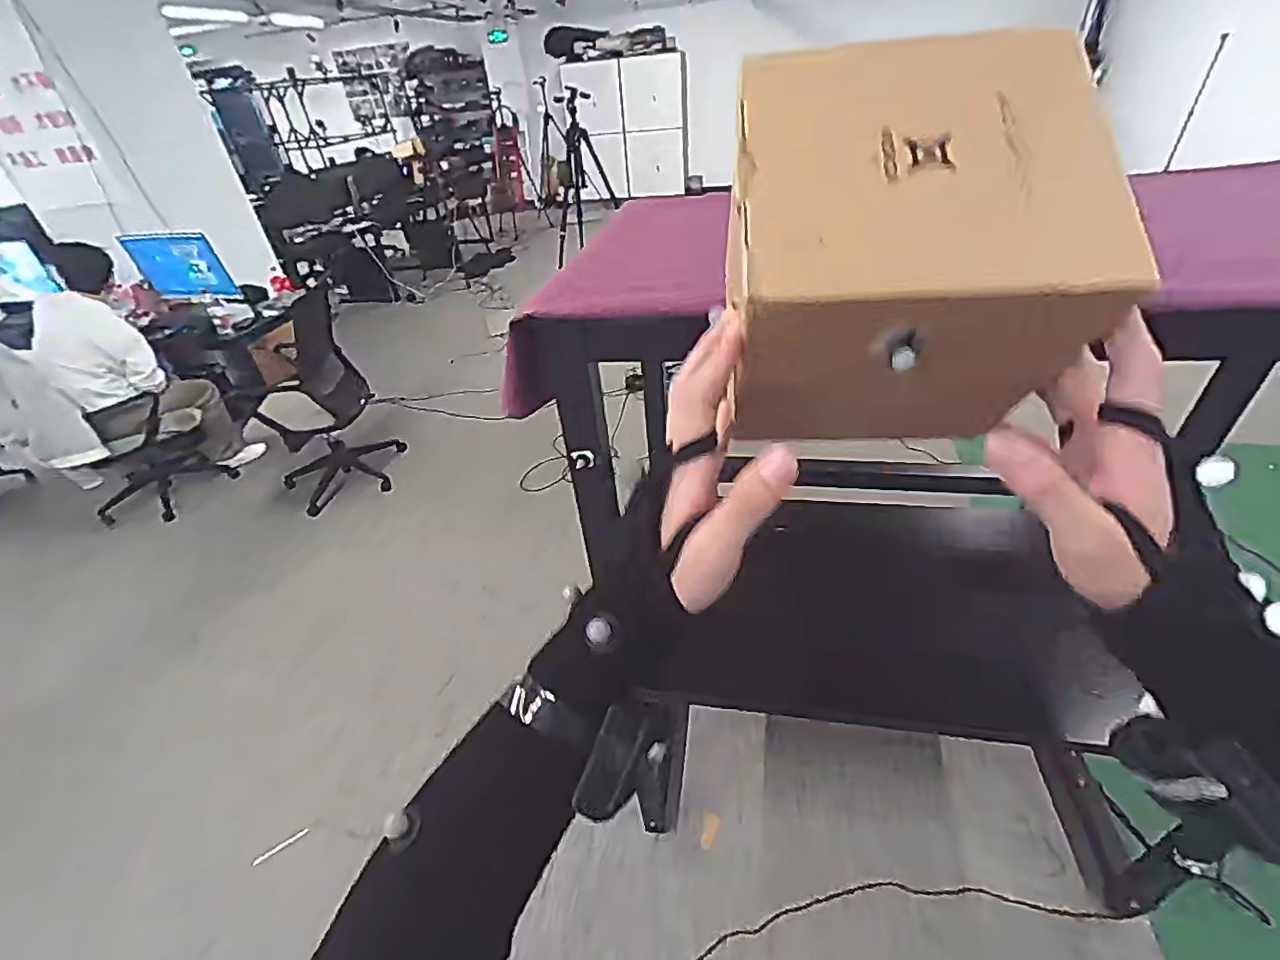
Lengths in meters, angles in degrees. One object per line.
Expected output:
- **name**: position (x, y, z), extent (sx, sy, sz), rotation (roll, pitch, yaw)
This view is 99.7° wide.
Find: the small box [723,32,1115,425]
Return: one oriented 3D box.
- **small box**: position (0.144, -0.144, 0.357), extent (0.179, 0.176, 0.168), rotation (1, 70, 7)
